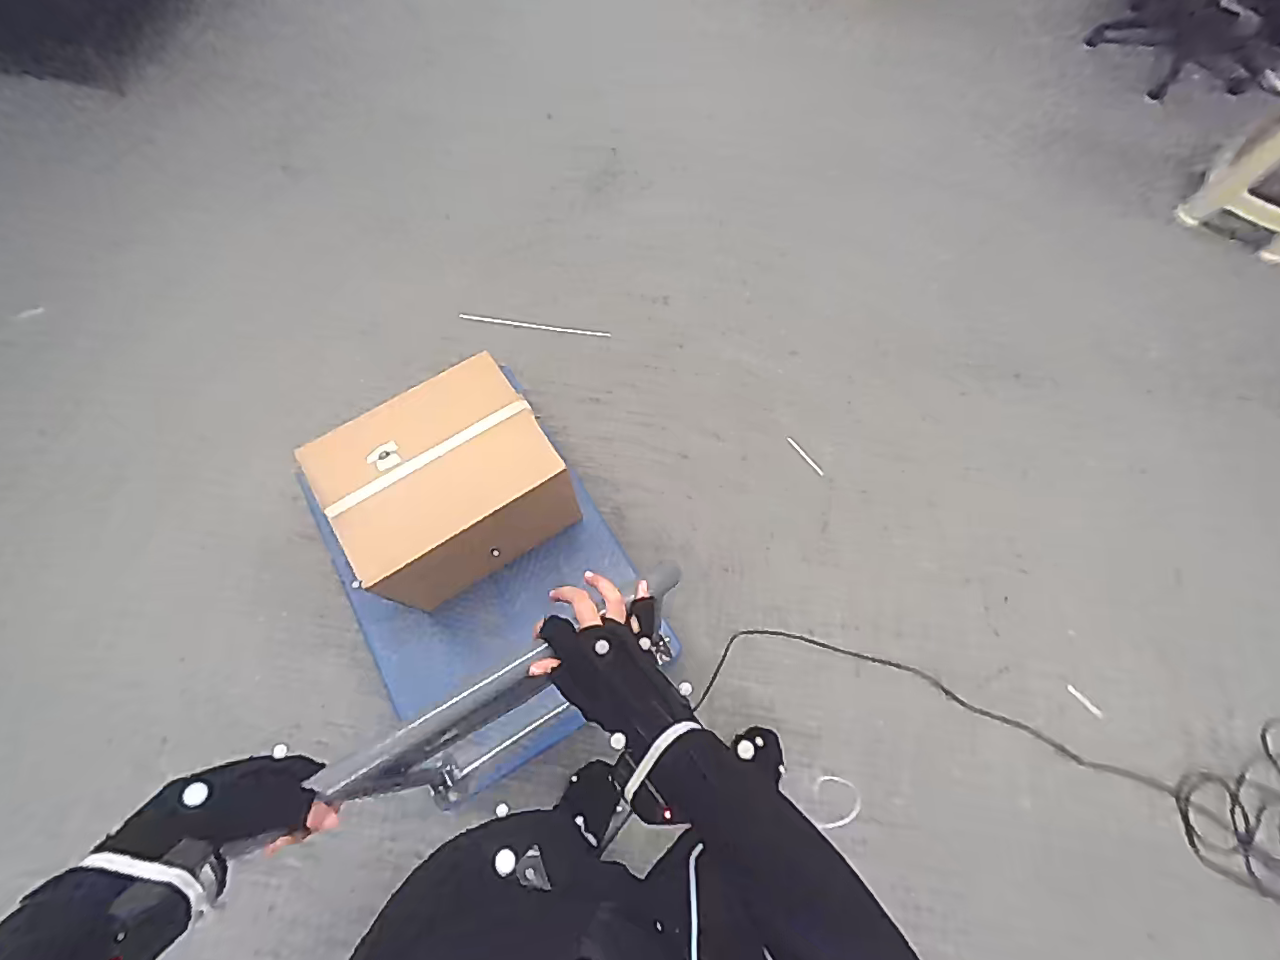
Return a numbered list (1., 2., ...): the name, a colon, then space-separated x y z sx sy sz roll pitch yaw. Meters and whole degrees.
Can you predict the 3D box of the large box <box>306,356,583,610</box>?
1. large box: -0.379 0.020 1.146 0.408 0.320 0.320 -33 71 -11
